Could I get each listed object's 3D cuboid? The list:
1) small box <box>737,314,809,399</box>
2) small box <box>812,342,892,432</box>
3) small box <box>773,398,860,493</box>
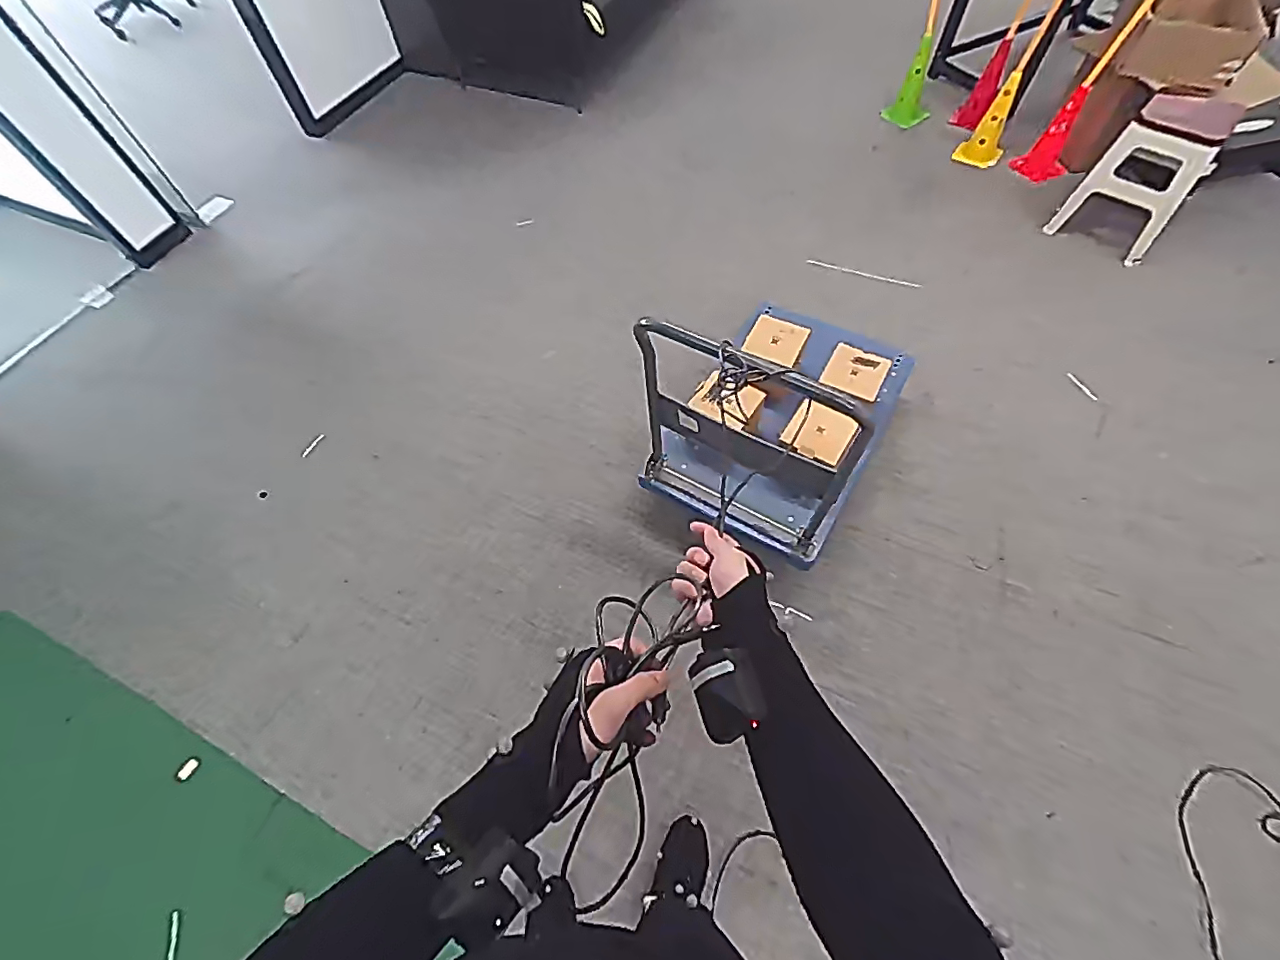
[{"bbox_3d":[0.420,-0.389,1.727,0.168,0.176,0.179,24,65,16],"label":"small box"},{"bbox_3d":[0.636,-0.279,1.647,0.168,0.176,0.179,25,66,18],"label":"small box"},{"bbox_3d":[0.499,-0.095,1.554,0.168,0.176,0.179,29,67,19],"label":"small box"}]
